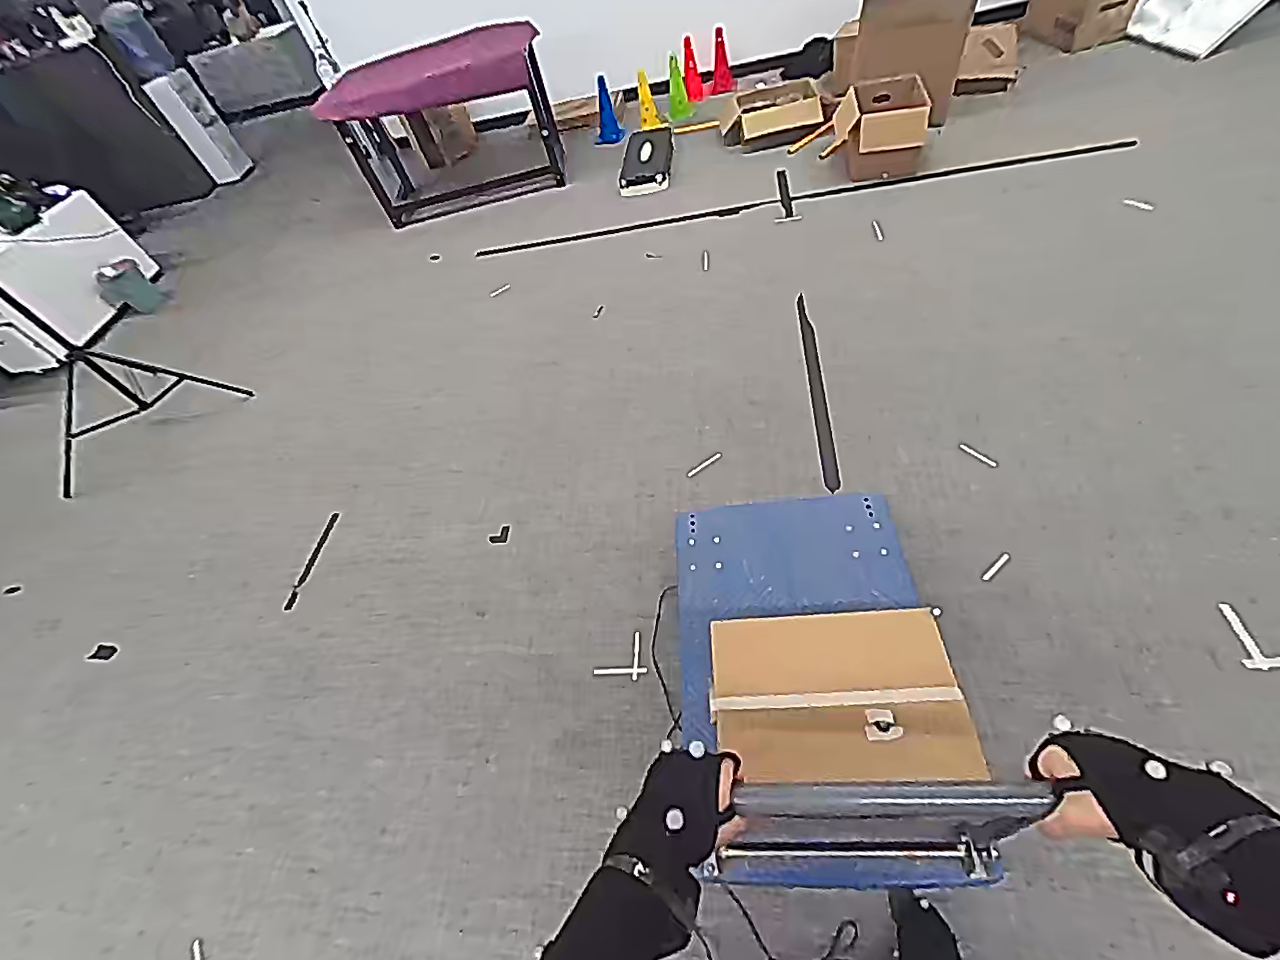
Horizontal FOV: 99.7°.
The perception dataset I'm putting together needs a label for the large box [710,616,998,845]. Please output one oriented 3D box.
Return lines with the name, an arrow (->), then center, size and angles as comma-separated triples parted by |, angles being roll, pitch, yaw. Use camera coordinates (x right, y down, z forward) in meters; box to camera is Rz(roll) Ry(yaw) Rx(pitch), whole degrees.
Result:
large box -> 0.354, 0.481, 1.018 | 0.408, 0.320, 0.320 | -6, 51, 8
